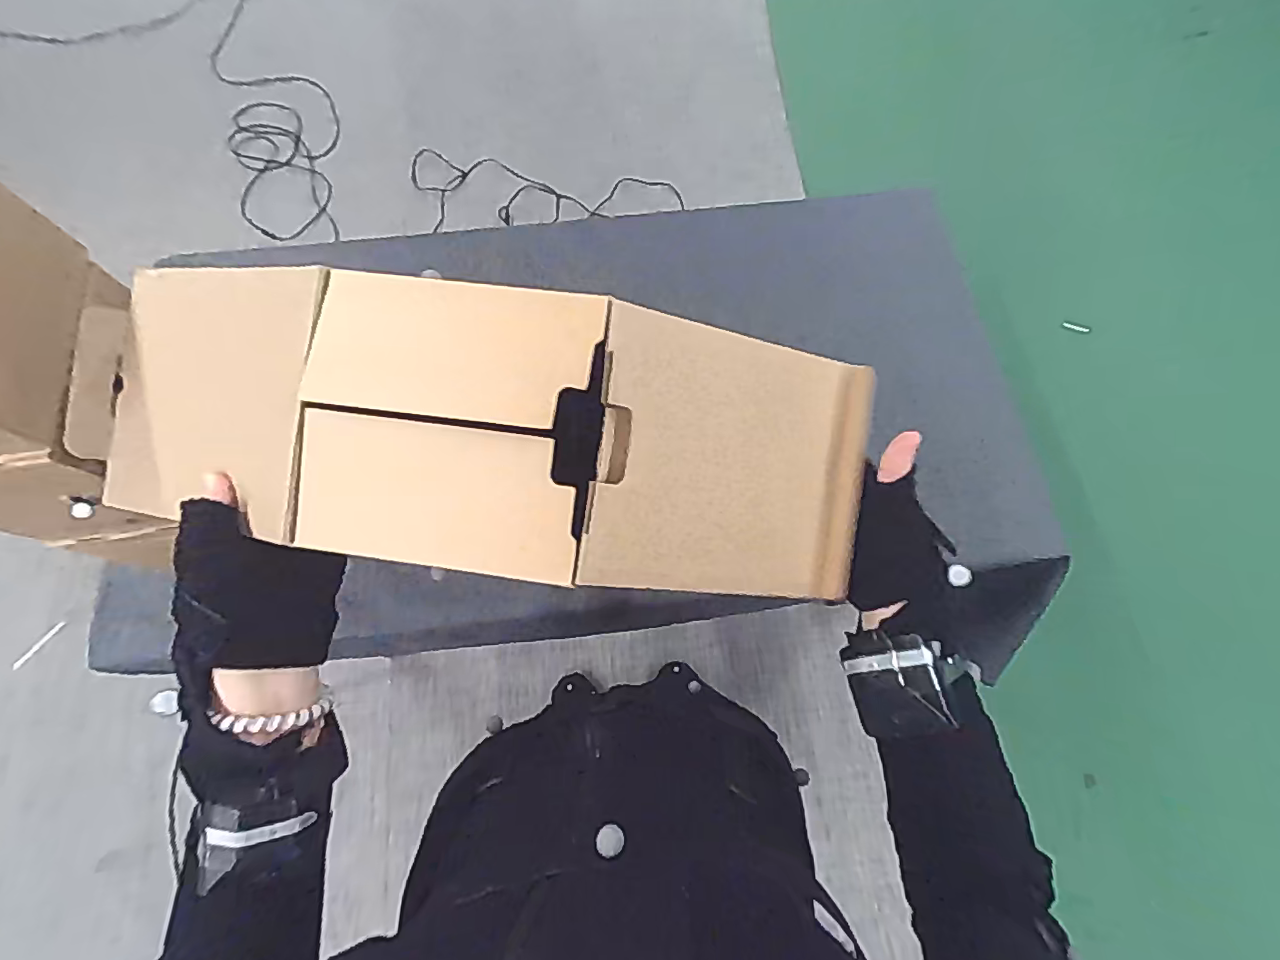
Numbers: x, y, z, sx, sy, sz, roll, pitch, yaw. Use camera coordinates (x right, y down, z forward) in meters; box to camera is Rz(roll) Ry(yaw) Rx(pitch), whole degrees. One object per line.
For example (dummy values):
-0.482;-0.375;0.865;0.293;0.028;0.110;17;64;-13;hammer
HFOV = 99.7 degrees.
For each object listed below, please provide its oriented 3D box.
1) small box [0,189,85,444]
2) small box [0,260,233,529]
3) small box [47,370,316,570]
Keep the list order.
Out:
-0.502;-0.120;0.325;0.168;0.176;0.179;-8;71;-5;small box
-0.503;-0.060;0.478;0.168;0.176;0.179;-7;71;-4;small box
-0.506;-0.003;0.630;0.168;0.176;0.179;-8;72;-3;small box
